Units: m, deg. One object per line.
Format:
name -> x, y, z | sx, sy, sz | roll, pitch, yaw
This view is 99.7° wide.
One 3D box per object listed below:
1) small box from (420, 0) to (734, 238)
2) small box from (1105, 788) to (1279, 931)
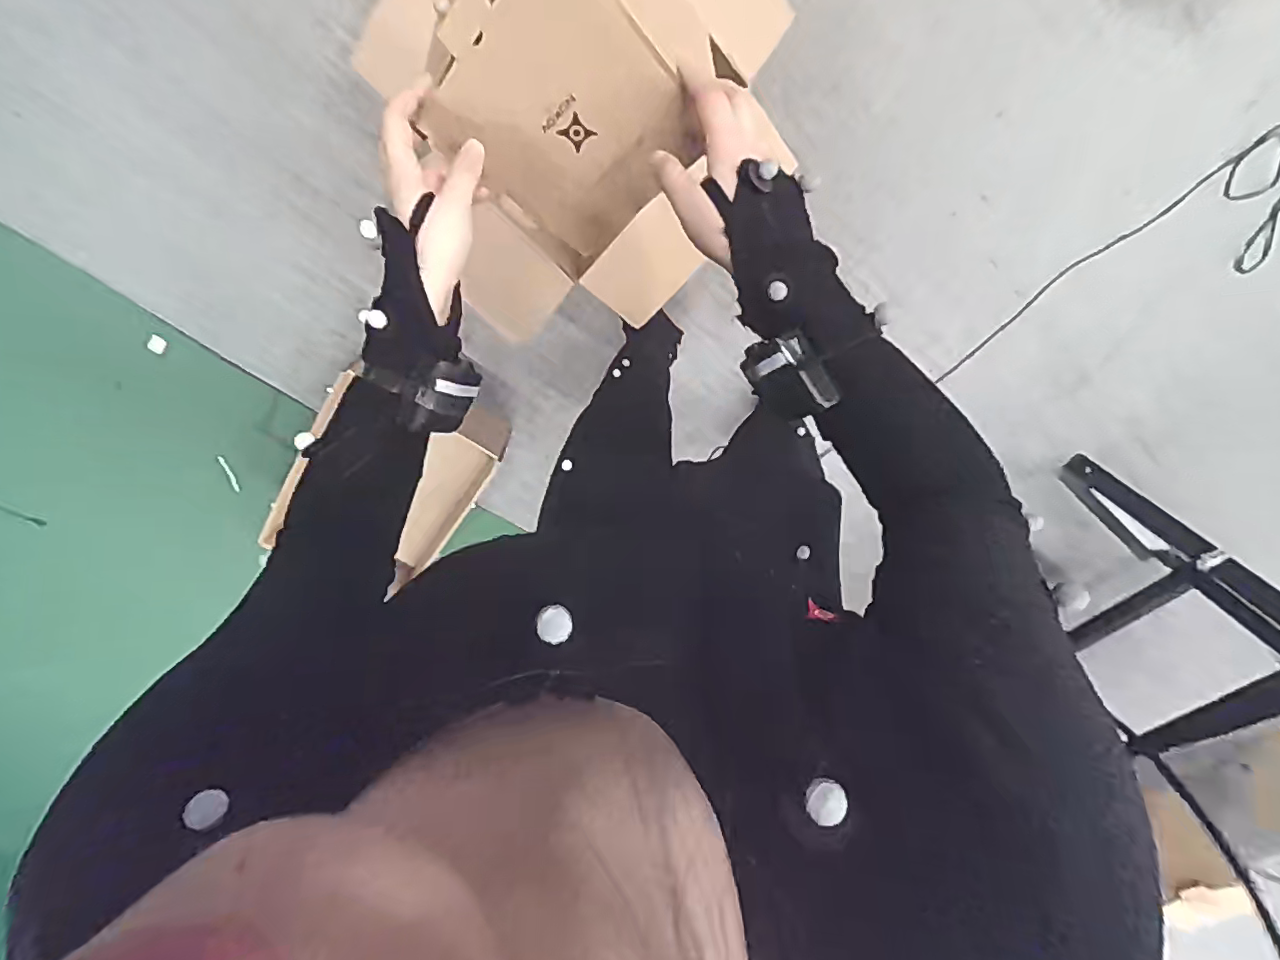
small box -> -0.049, -0.349, 0.437 | 0.168, 0.176, 0.179 | -25, 147, 38
small box -> 1.085, 0.742, 1.064 | 0.179, 0.176, 0.168 | 37, 114, -22
